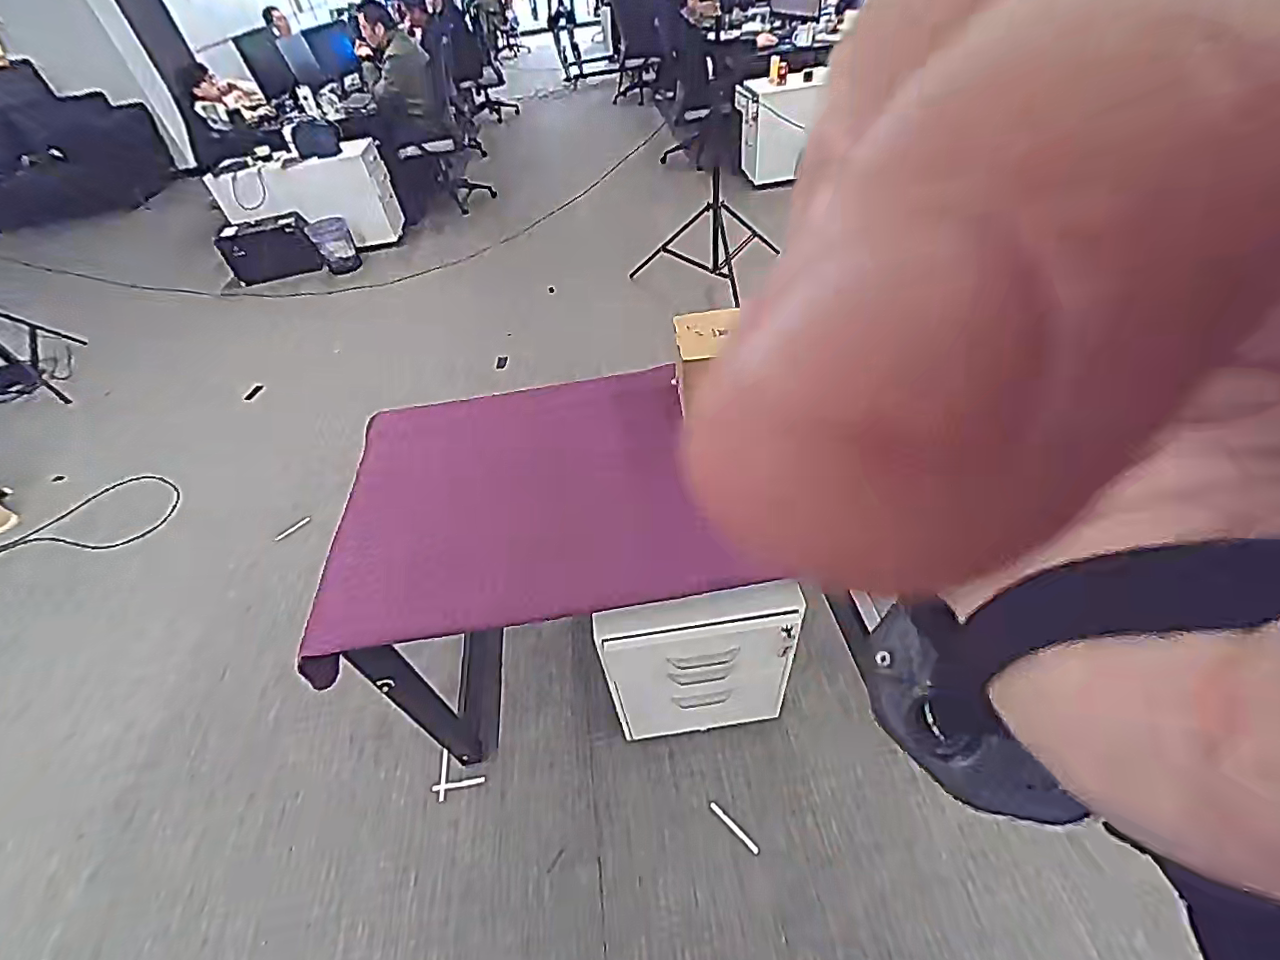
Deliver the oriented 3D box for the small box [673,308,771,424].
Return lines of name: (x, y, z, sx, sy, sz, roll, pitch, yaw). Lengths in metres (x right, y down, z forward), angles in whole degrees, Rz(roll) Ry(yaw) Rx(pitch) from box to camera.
small box: (0.169, -0.240, 1.153, 0.179, 0.176, 0.168, -7, 47, 2)
